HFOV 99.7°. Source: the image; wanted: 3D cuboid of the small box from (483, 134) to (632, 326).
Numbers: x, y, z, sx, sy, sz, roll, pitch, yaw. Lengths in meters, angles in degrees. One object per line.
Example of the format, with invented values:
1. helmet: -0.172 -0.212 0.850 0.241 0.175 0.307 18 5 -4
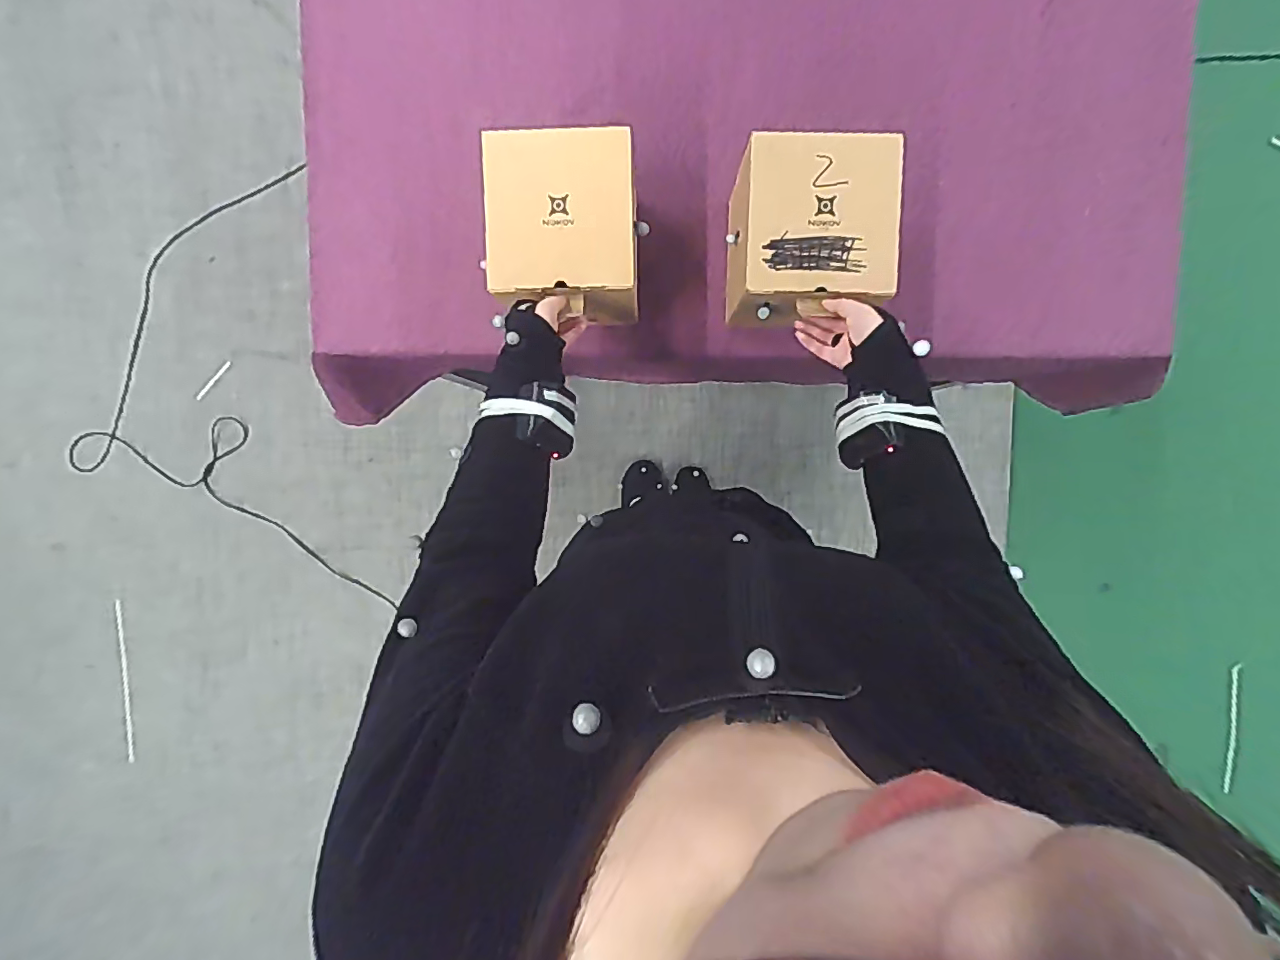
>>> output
1. small box: -0.095 -0.305 0.690 0.168 0.176 0.179 -1 94 1
